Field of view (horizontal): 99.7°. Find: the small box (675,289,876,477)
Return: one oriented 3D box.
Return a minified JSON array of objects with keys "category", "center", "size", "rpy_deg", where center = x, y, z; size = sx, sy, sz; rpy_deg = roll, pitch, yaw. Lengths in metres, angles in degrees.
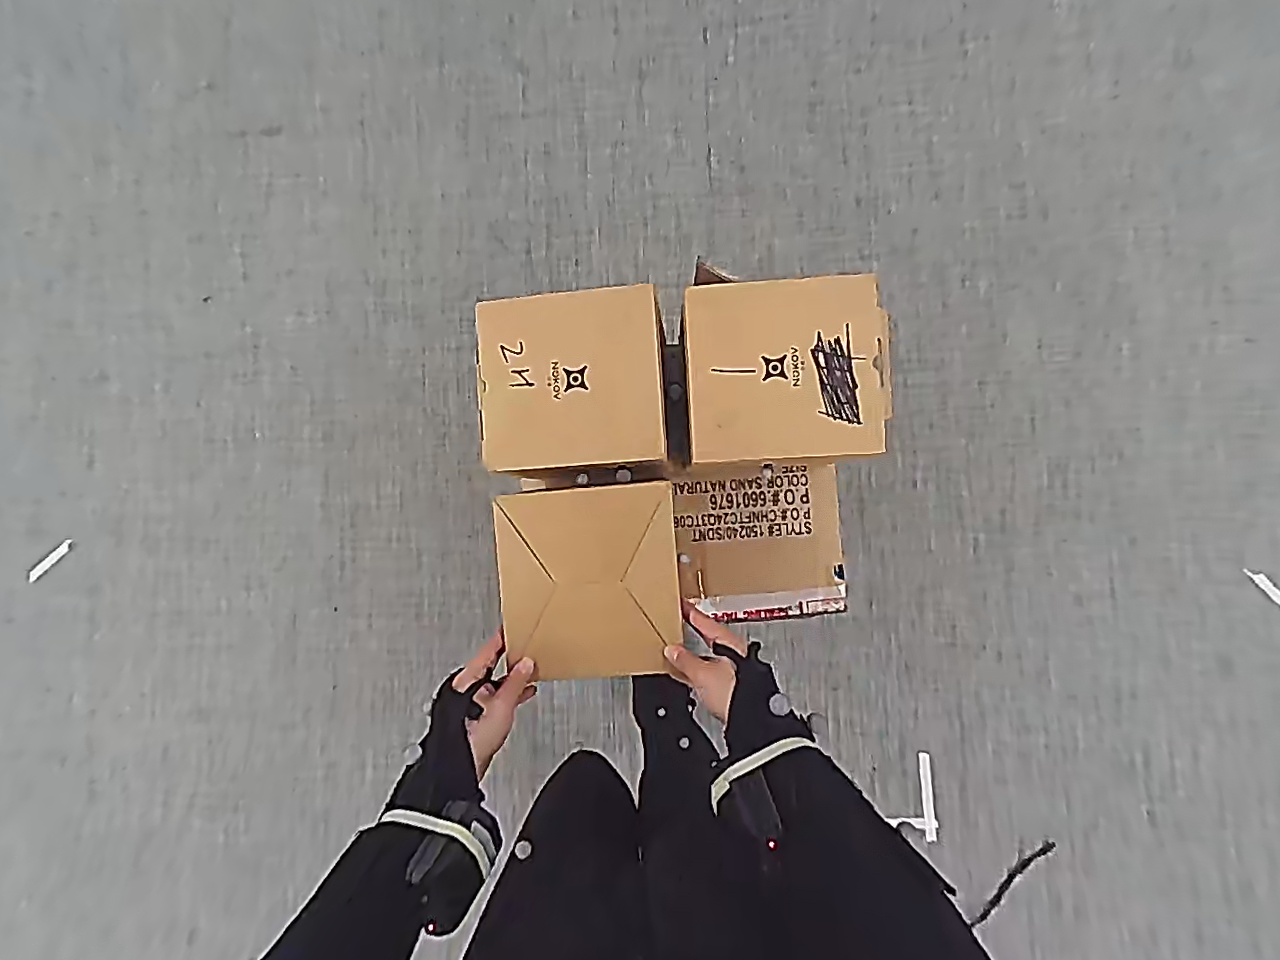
[{"category":"small box","center":[0.130,-0.090,0.580],"size":[0.179,0.176,0.168],"rpy_deg":[-3,88,3]}]
